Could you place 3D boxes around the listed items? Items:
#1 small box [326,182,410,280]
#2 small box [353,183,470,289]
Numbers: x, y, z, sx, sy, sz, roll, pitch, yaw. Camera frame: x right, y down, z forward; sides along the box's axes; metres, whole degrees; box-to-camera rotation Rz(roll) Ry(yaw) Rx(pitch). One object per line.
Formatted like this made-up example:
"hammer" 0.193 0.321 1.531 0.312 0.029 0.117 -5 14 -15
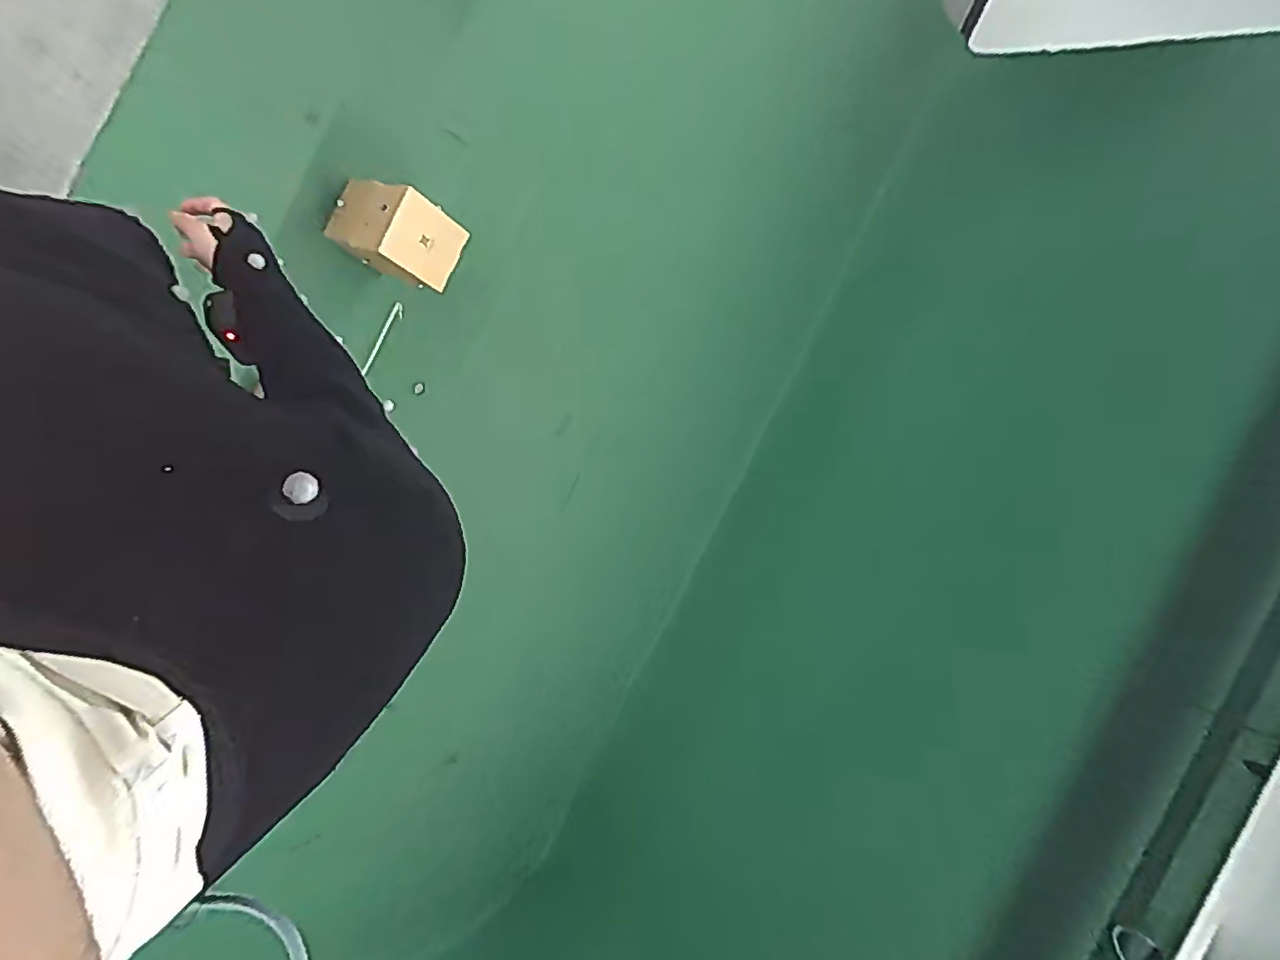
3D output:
"small box" -0.673 -0.652 1.407 0.179 0.176 0.168 26 90 -53
"small box" -0.557 -0.590 1.313 0.179 0.176 0.168 25 91 -55
